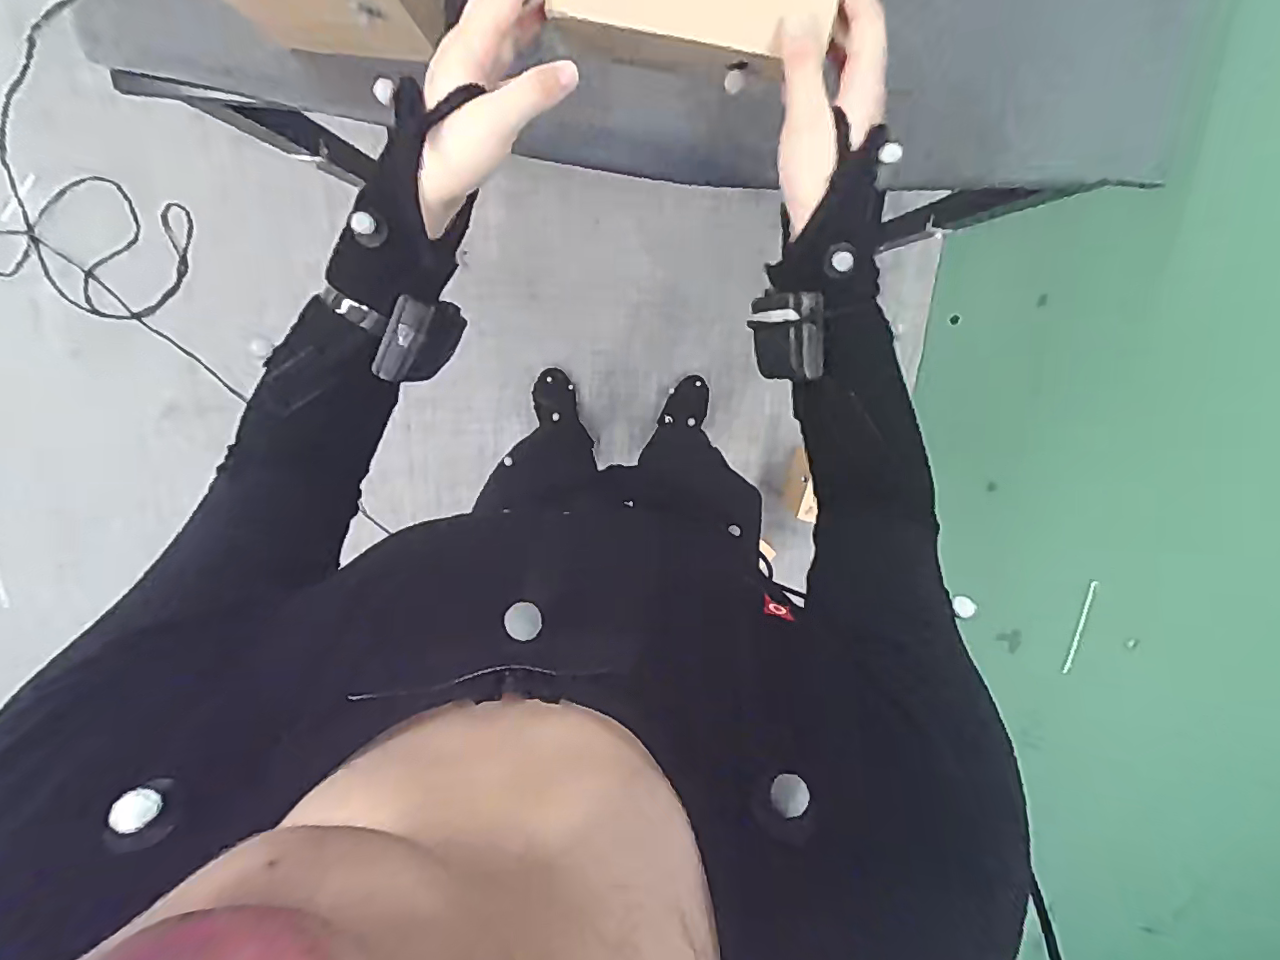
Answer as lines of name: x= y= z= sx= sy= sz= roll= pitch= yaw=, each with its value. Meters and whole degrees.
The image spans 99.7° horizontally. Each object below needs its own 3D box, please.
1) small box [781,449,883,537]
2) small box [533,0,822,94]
small box: x=0.492 y=0.028 z=1.412 sx=0.179 sy=0.176 sz=0.168 roll=13 pitch=106 yaw=-4
small box: x=0.028 y=-0.379 z=0.366 sx=0.179 sy=0.176 sz=0.168 roll=6 pitch=120 yaw=-7
